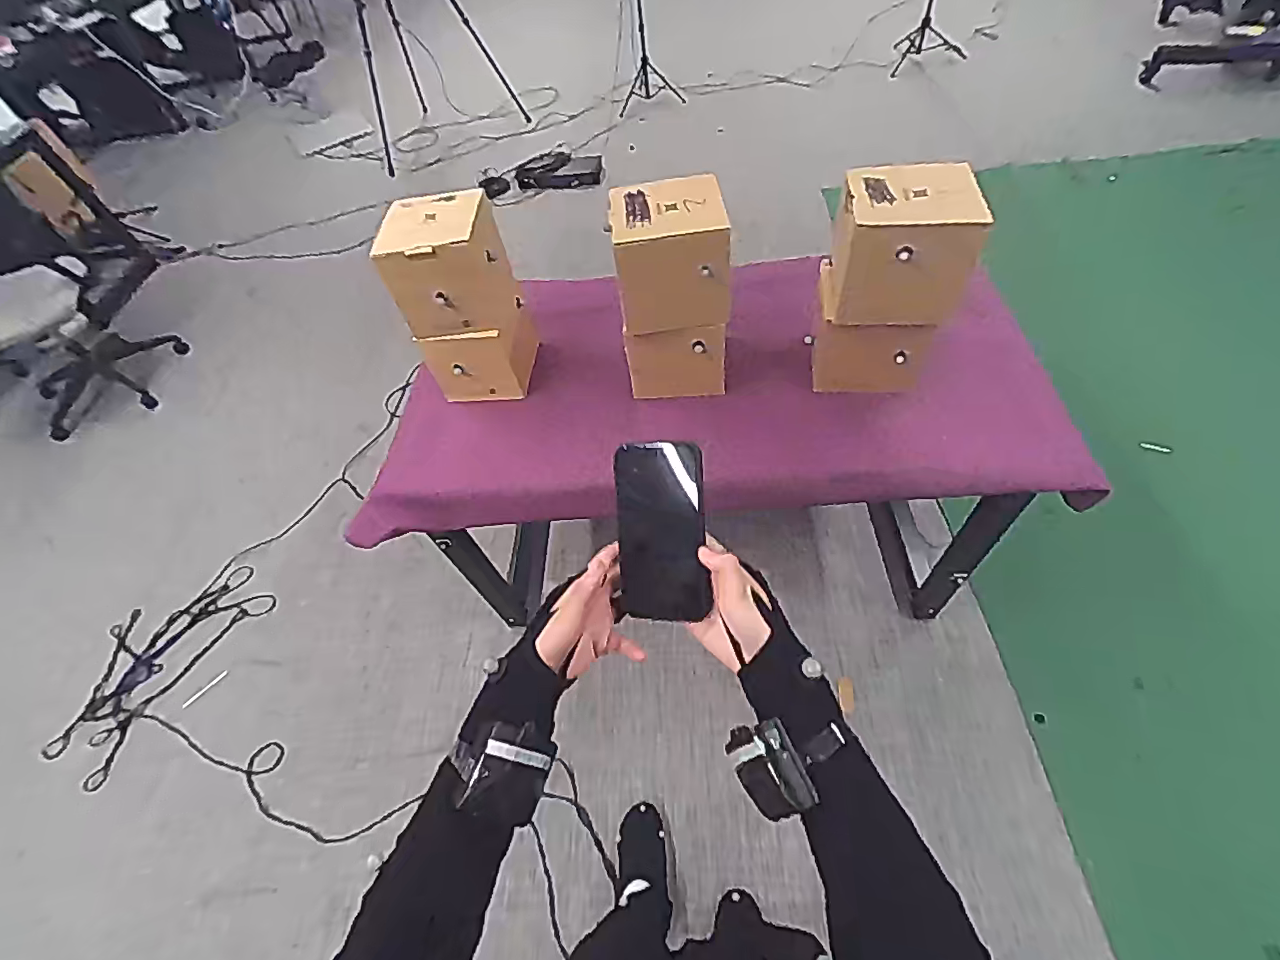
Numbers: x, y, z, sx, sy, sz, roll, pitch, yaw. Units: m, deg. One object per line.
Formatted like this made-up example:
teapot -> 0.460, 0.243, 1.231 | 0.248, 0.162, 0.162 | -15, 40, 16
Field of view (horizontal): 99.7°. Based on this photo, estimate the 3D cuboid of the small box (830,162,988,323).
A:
small box -> 0.393, -0.359, 0.828 | 0.179, 0.176, 0.168 | 4, 55, 10

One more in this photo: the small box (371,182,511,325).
small box -> -0.337, -0.391, 0.956 | 0.168, 0.176, 0.179 | -5, 55, 4

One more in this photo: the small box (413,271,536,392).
small box -> -0.318, -0.290, 1.085 | 0.168, 0.176, 0.179 | -1, 55, 8

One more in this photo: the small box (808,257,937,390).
small box -> 0.404, -0.277, 0.970 | 0.179, 0.176, 0.168 | 4, 55, 11

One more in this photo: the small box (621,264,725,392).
small box -> 0.068, -0.282, 1.021 | 0.179, 0.176, 0.168 | -1, 55, 8
